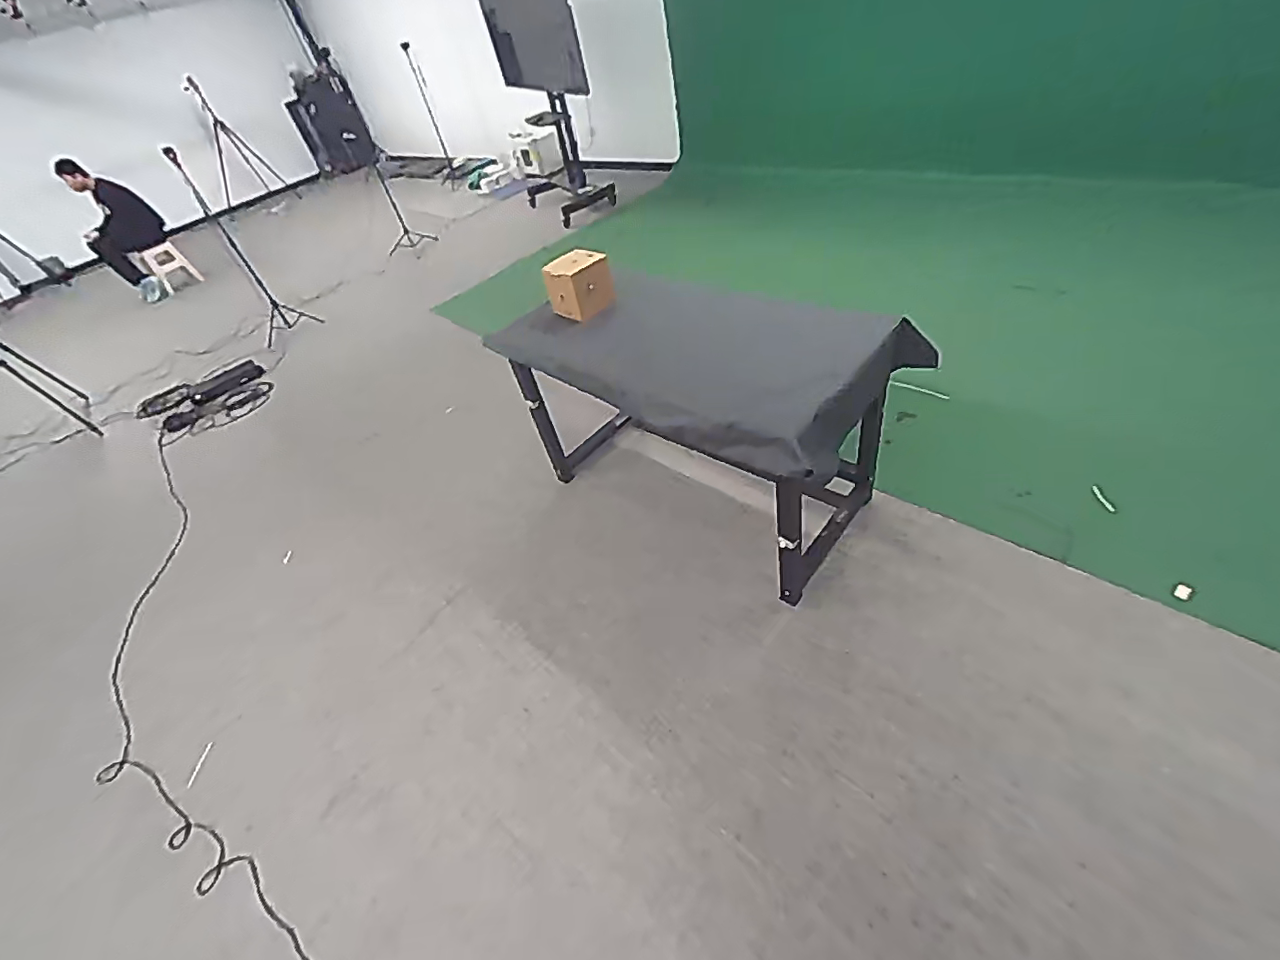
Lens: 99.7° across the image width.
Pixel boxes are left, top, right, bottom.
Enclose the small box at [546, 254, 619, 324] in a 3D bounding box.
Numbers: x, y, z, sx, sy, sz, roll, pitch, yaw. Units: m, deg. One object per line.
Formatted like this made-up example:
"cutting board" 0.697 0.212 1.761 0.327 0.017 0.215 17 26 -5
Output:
"small box" -0.198 -0.679 1.928 0.168 0.176 0.179 29 58 36
